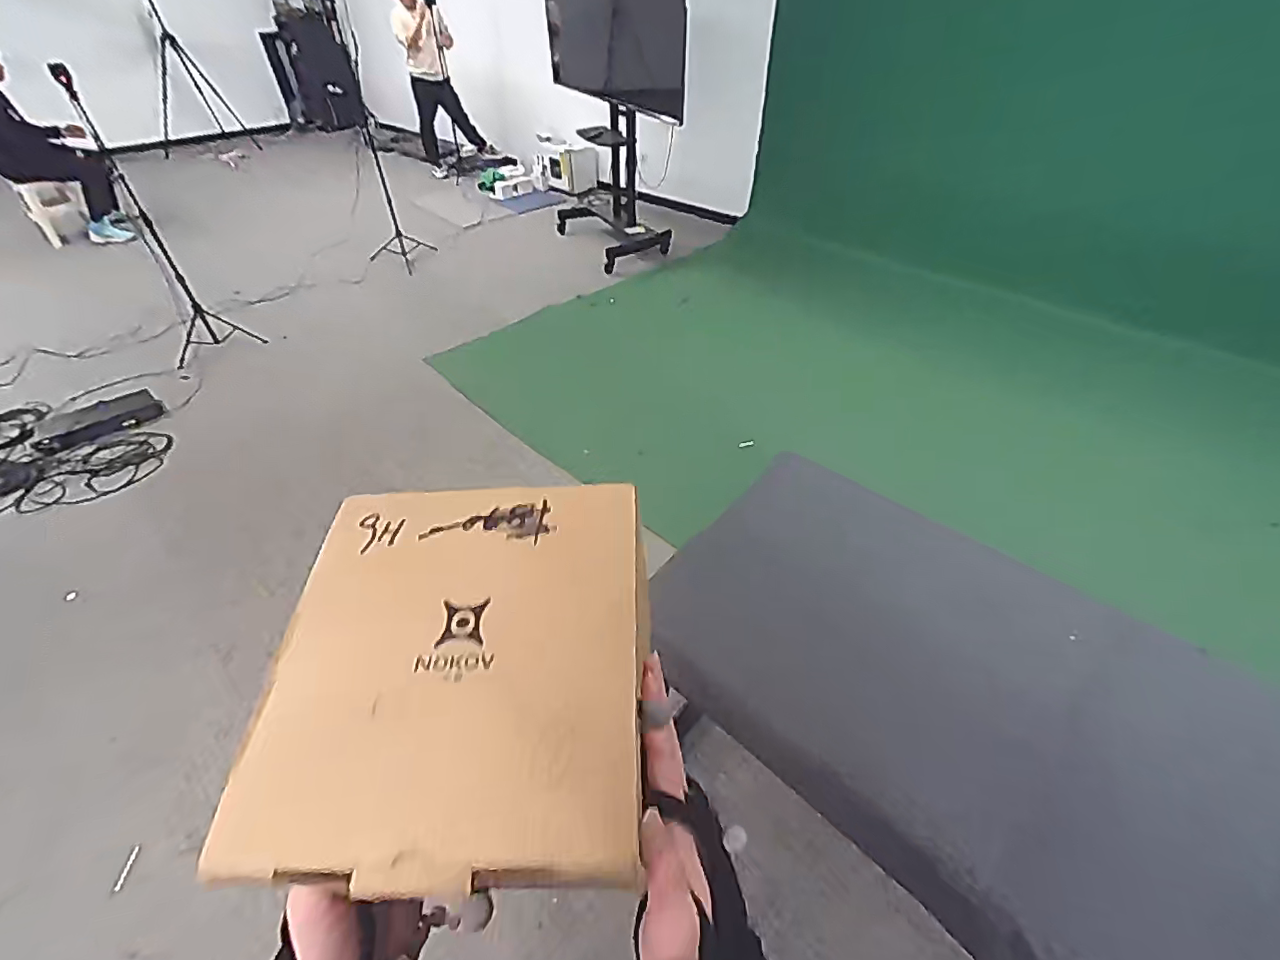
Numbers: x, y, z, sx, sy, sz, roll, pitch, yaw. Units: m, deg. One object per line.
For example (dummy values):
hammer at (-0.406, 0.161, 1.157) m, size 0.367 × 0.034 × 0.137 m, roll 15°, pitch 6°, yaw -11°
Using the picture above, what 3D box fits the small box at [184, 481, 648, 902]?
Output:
small box at (-0.080, 0.119, 0.302) m, size 0.168 × 0.176 × 0.179 m, roll -1°, pitch 55°, yaw 1°
